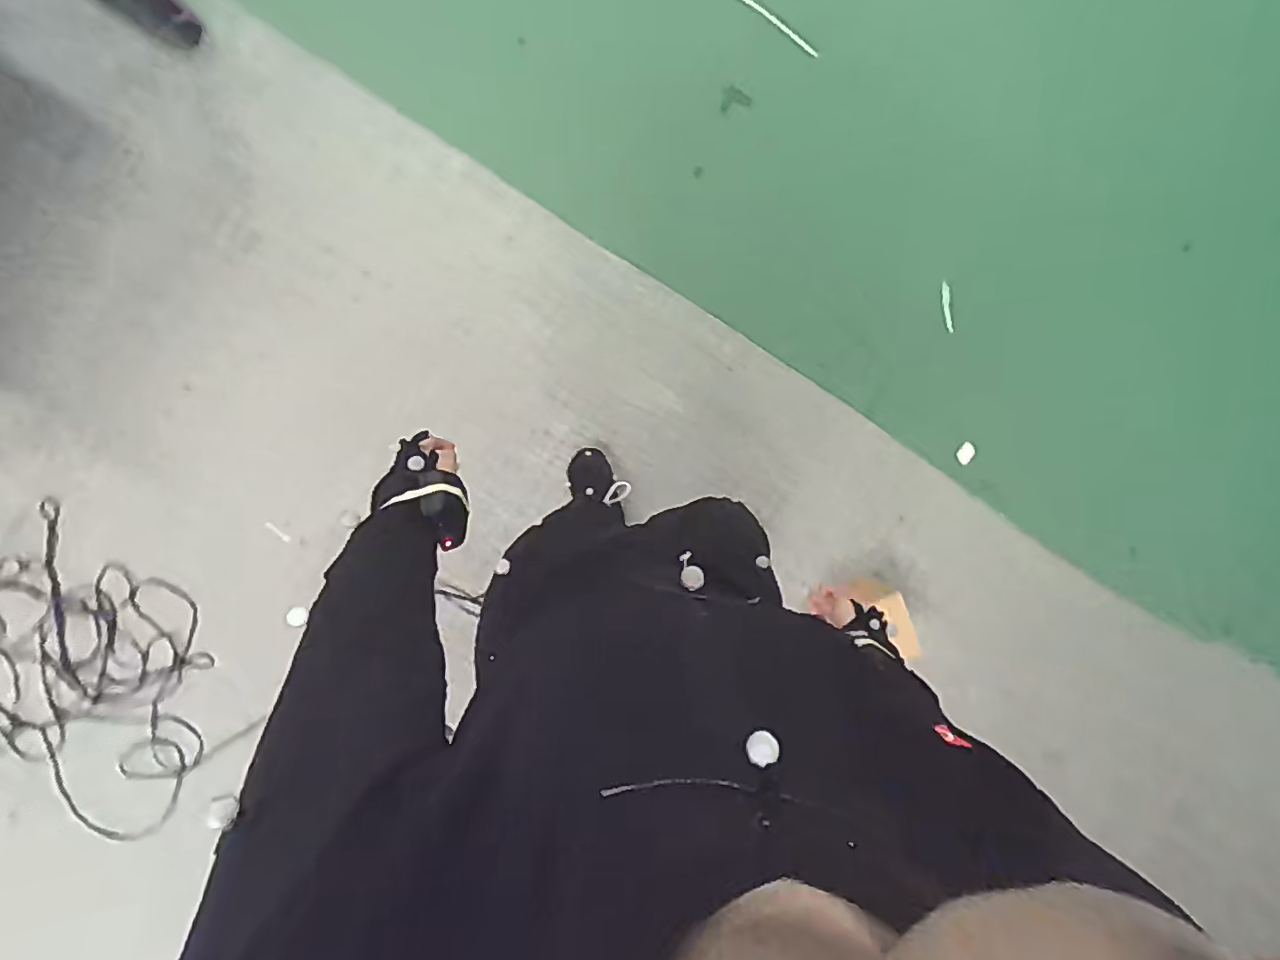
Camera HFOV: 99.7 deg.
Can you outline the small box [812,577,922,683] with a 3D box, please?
[{"bbox_3d":[0.540,0.358,1.318,0.179,0.176,0.168,-22,97,-2],"label":"small box"}]
